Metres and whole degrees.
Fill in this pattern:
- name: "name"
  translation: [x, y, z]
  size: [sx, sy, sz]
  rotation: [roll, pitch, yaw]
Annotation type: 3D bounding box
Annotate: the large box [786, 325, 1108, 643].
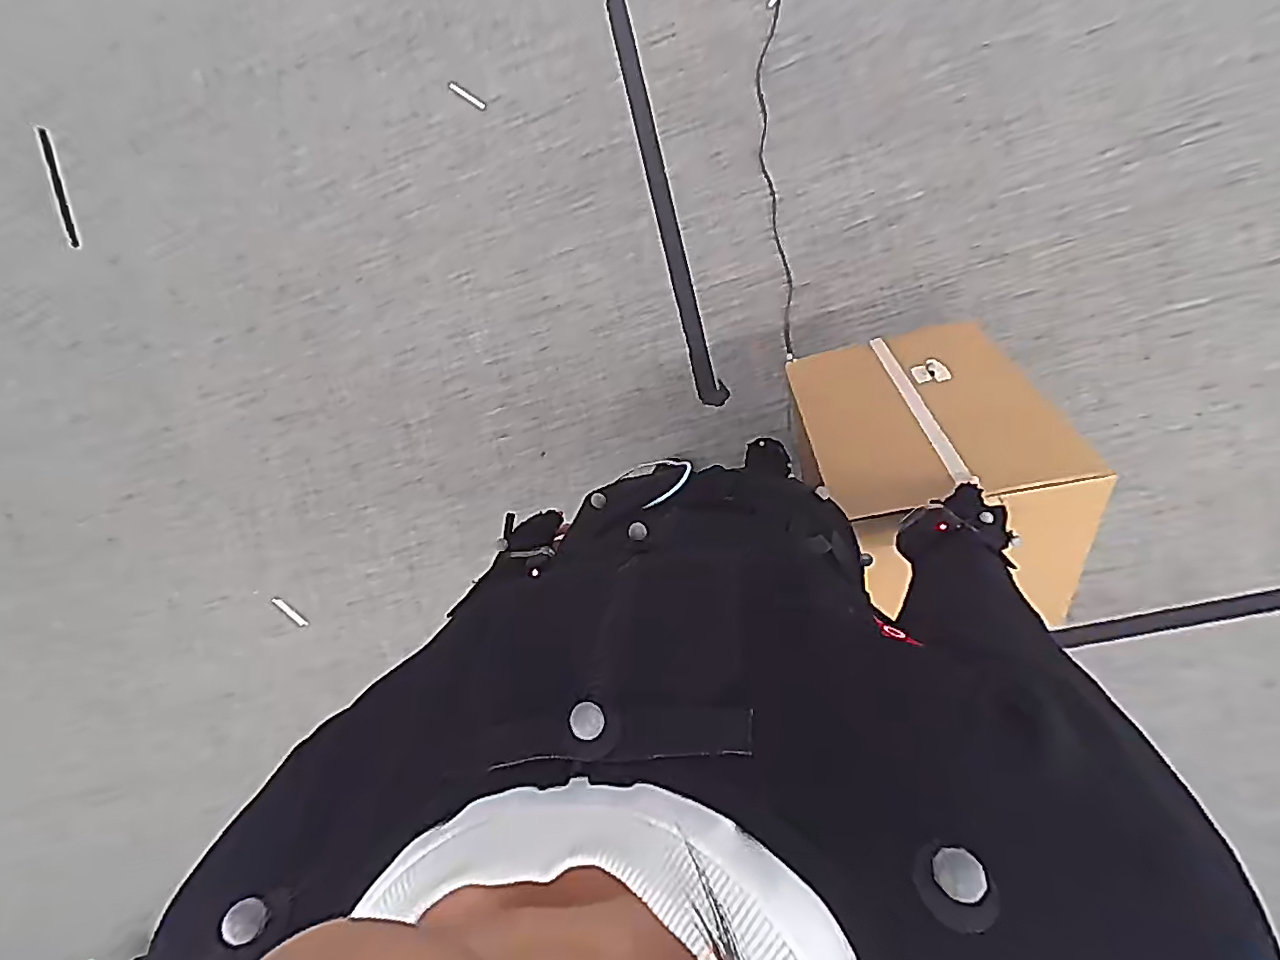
- name: "large box"
  translation: [0.456, 0.001, 0.906]
  size: [0.320, 0.408, 0.320]
  rotation: [-11, 130, 11]
